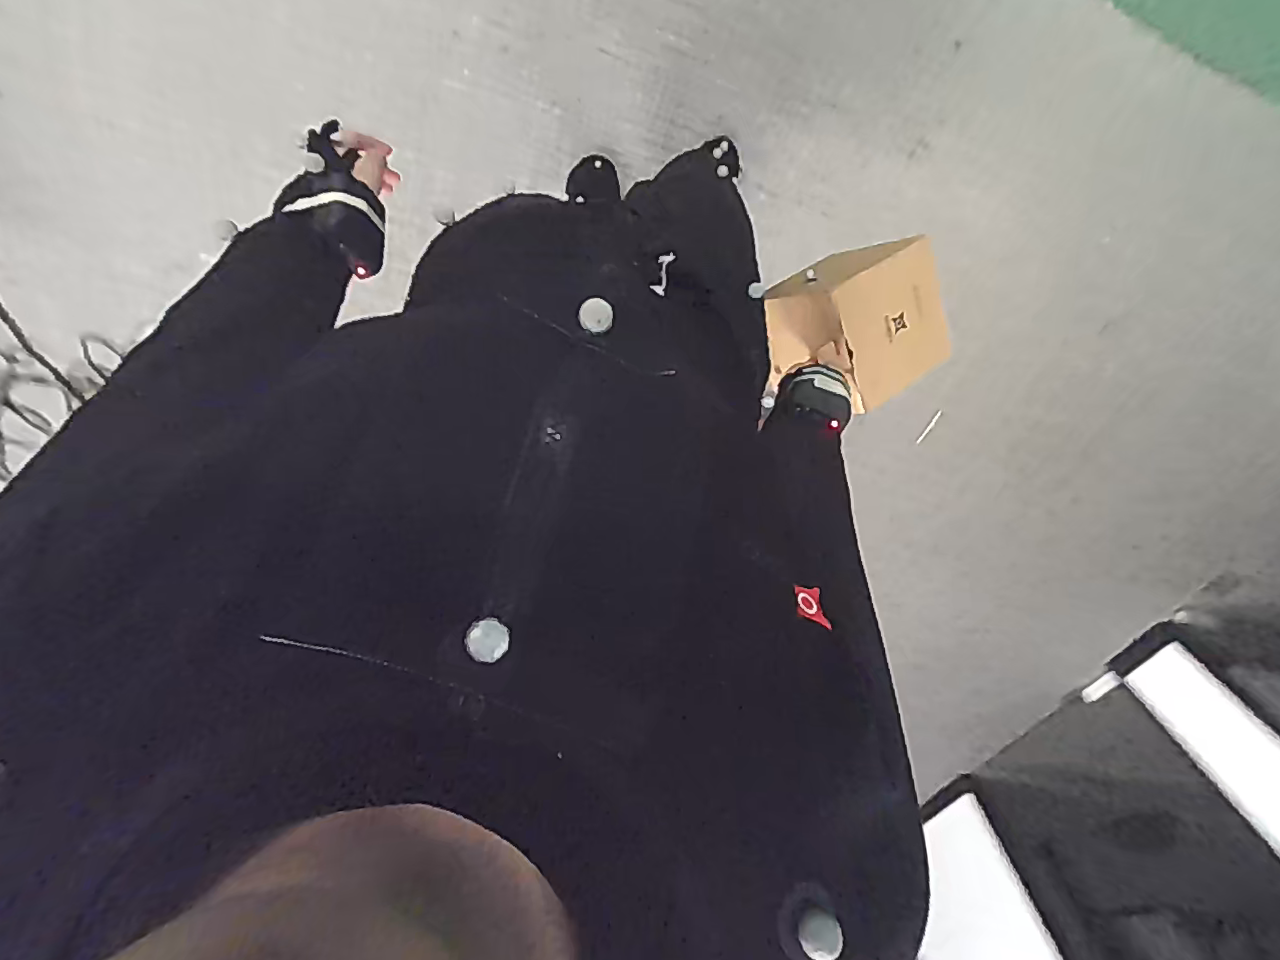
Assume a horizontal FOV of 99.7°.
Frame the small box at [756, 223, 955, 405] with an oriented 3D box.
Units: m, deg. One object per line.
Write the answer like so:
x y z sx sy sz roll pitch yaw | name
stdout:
0.280 -0.216 0.730 0.179 0.176 0.168 -34 115 -17 | small box
